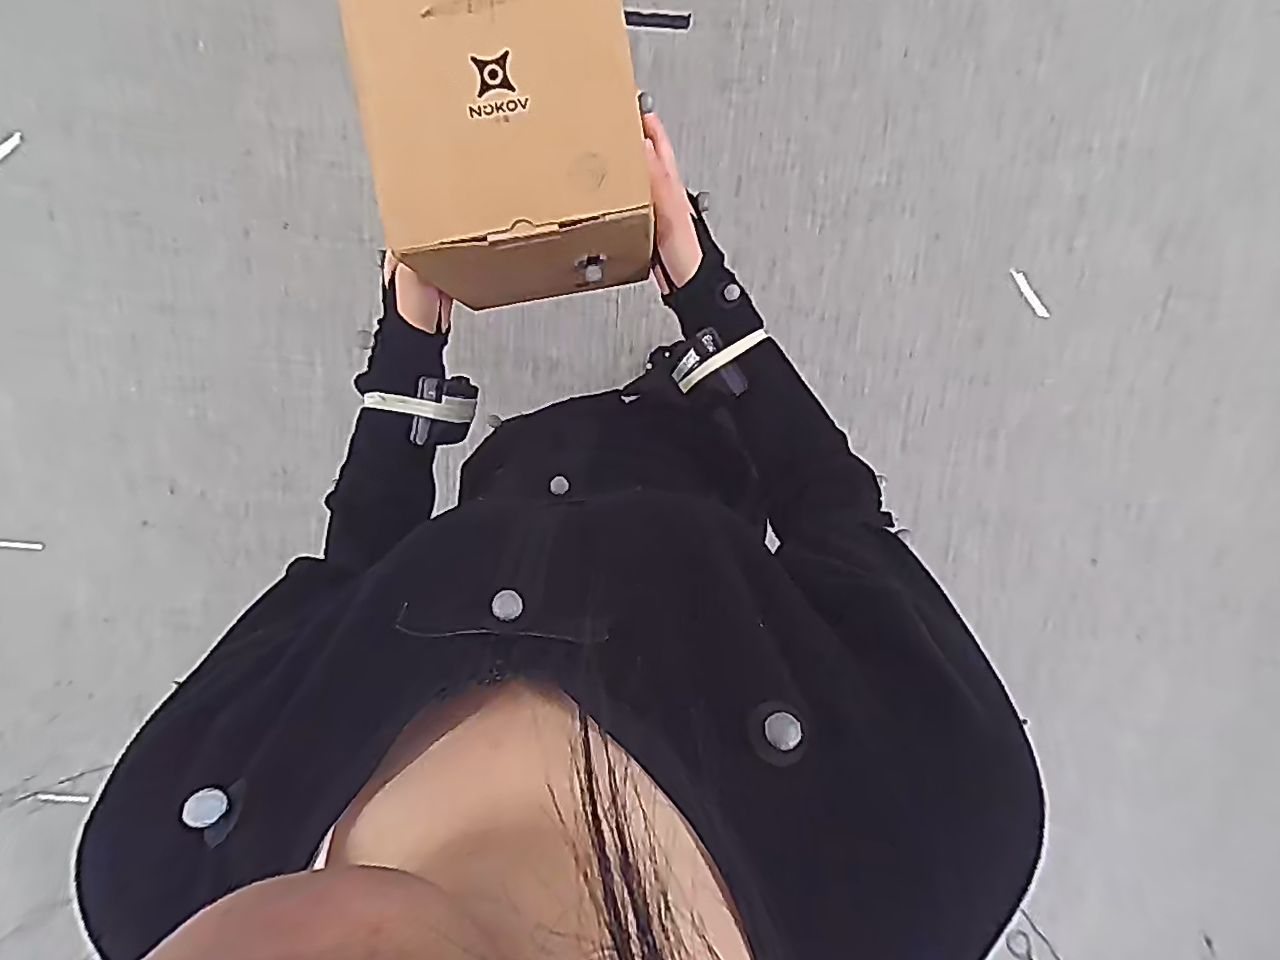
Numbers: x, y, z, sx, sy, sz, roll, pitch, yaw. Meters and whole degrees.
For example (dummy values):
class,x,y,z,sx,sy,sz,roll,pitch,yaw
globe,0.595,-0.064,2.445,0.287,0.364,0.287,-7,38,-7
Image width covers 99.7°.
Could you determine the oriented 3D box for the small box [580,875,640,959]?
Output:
class,x,y,z,sx,sy,sz,roll,pitch,yaw
small box,-0.089,1.364,1.657,0.168,0.176,0.179,6,102,-2
